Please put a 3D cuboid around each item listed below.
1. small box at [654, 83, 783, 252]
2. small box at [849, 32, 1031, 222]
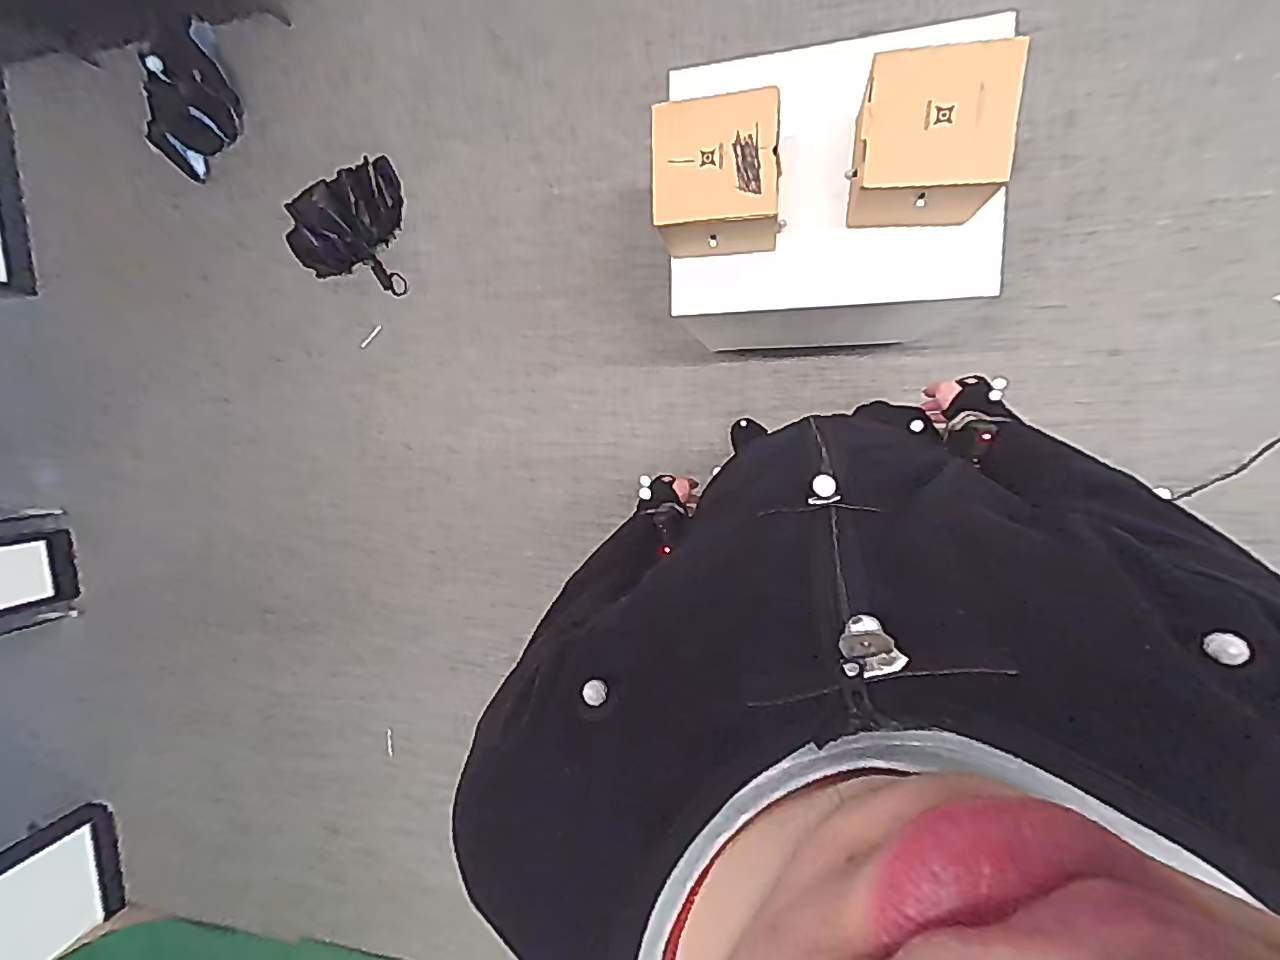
[{"bbox_3d":[0.123,-0.456,0.819,0.179,0.176,0.168,1,97,14],"label":"small box"},{"bbox_3d":[0.396,-0.470,0.750,0.179,0.176,0.168,5,100,13],"label":"small box"}]
